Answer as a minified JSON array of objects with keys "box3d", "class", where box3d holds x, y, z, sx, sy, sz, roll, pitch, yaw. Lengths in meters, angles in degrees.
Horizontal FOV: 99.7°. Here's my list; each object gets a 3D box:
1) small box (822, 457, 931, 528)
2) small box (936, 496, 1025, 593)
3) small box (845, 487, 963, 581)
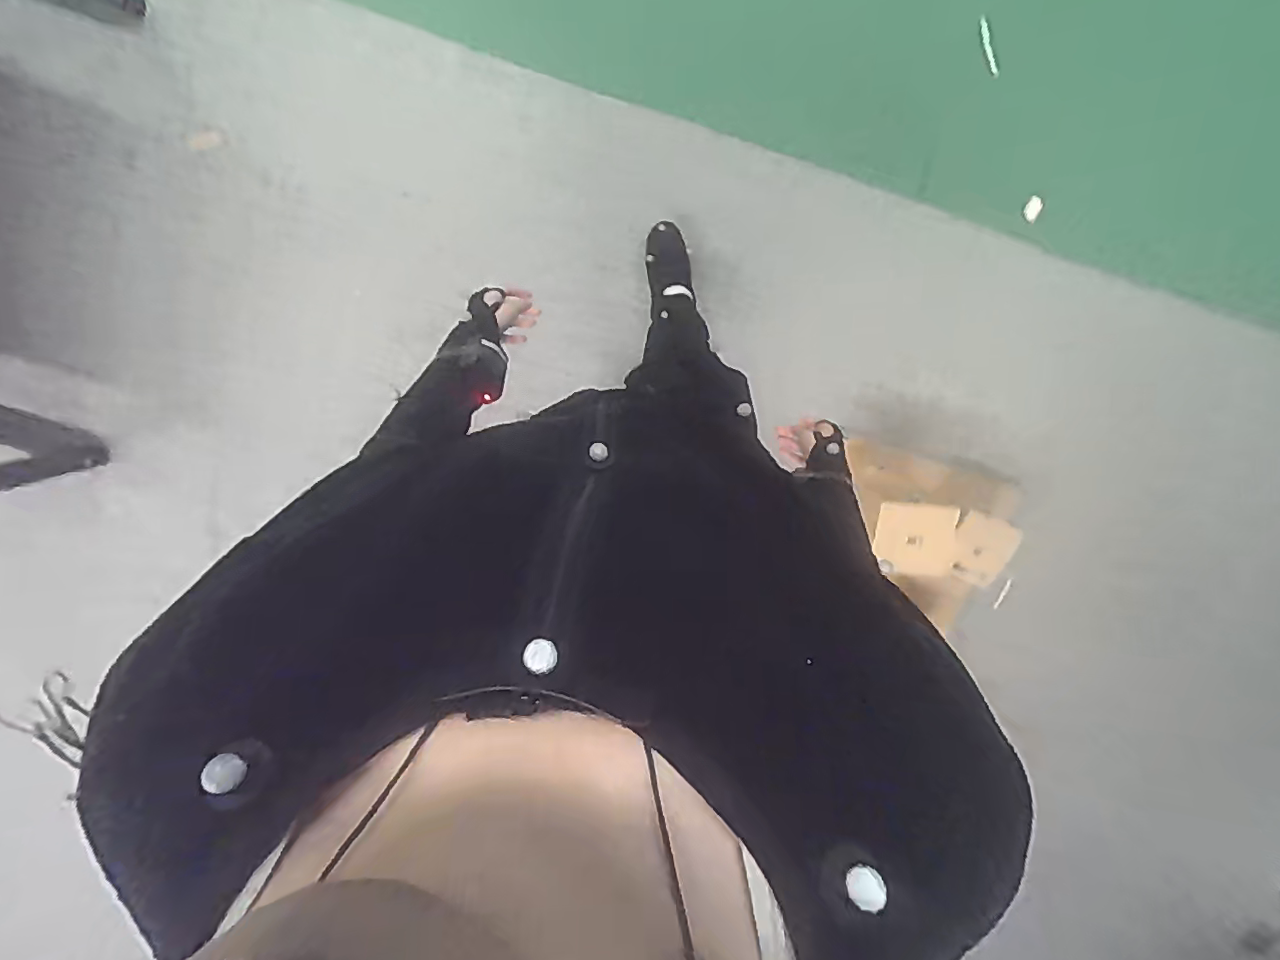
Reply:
[{"box3d":[0.608,0.053,1.418,0.179,0.176,0.168,23,106,-5],"class":"small box"},{"box3d":[0.860,0.164,1.444,0.168,0.176,0.179,24,105,-6],"class":"small box"},{"box3d":[0.608,0.120,1.267,0.179,0.176,0.168,6,106,0],"class":"small box"}]
